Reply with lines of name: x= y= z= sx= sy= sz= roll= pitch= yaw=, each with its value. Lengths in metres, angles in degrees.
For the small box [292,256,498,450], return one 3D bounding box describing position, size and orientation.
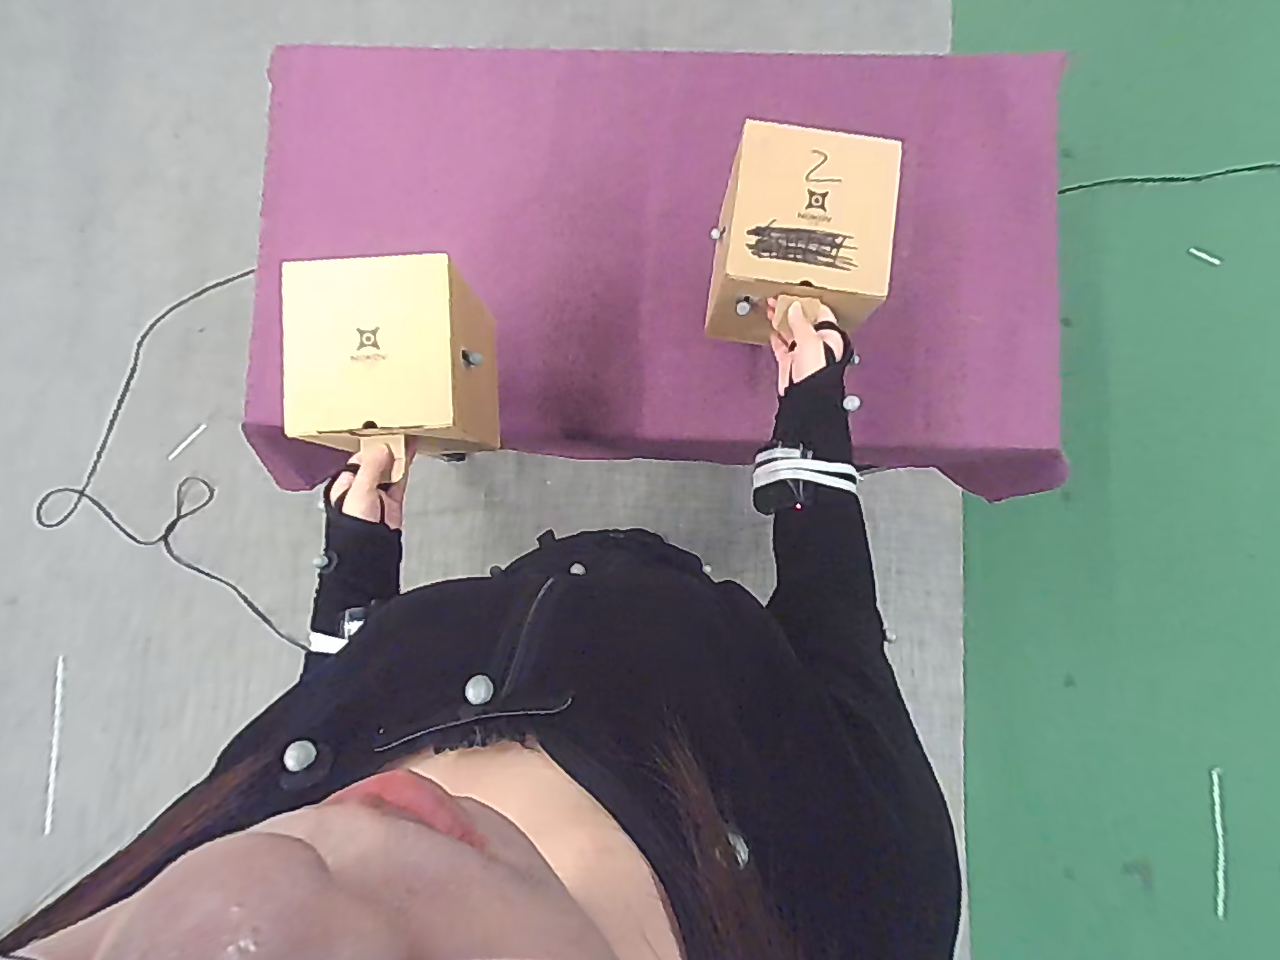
small box: x=-0.267 y=-0.134 z=0.623 sx=0.168 sy=0.176 sz=0.179 roll=-3 pitch=87 yaw=0
